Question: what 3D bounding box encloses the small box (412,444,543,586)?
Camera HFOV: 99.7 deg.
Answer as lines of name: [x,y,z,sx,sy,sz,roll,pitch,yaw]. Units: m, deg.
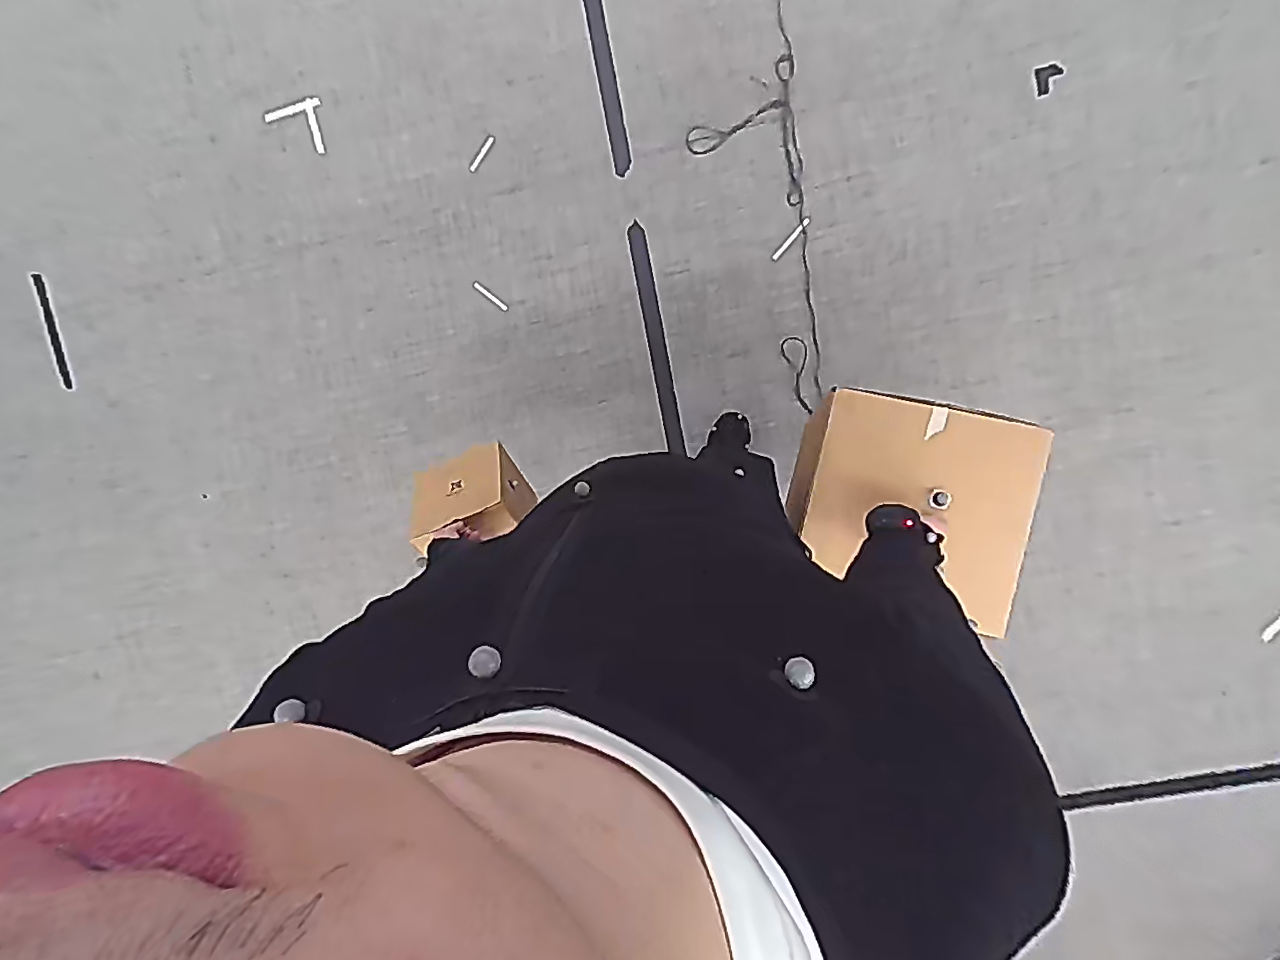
small box: [-0.288,0.072,0.986,0.168,0.179,0.176,-22,132,2]
